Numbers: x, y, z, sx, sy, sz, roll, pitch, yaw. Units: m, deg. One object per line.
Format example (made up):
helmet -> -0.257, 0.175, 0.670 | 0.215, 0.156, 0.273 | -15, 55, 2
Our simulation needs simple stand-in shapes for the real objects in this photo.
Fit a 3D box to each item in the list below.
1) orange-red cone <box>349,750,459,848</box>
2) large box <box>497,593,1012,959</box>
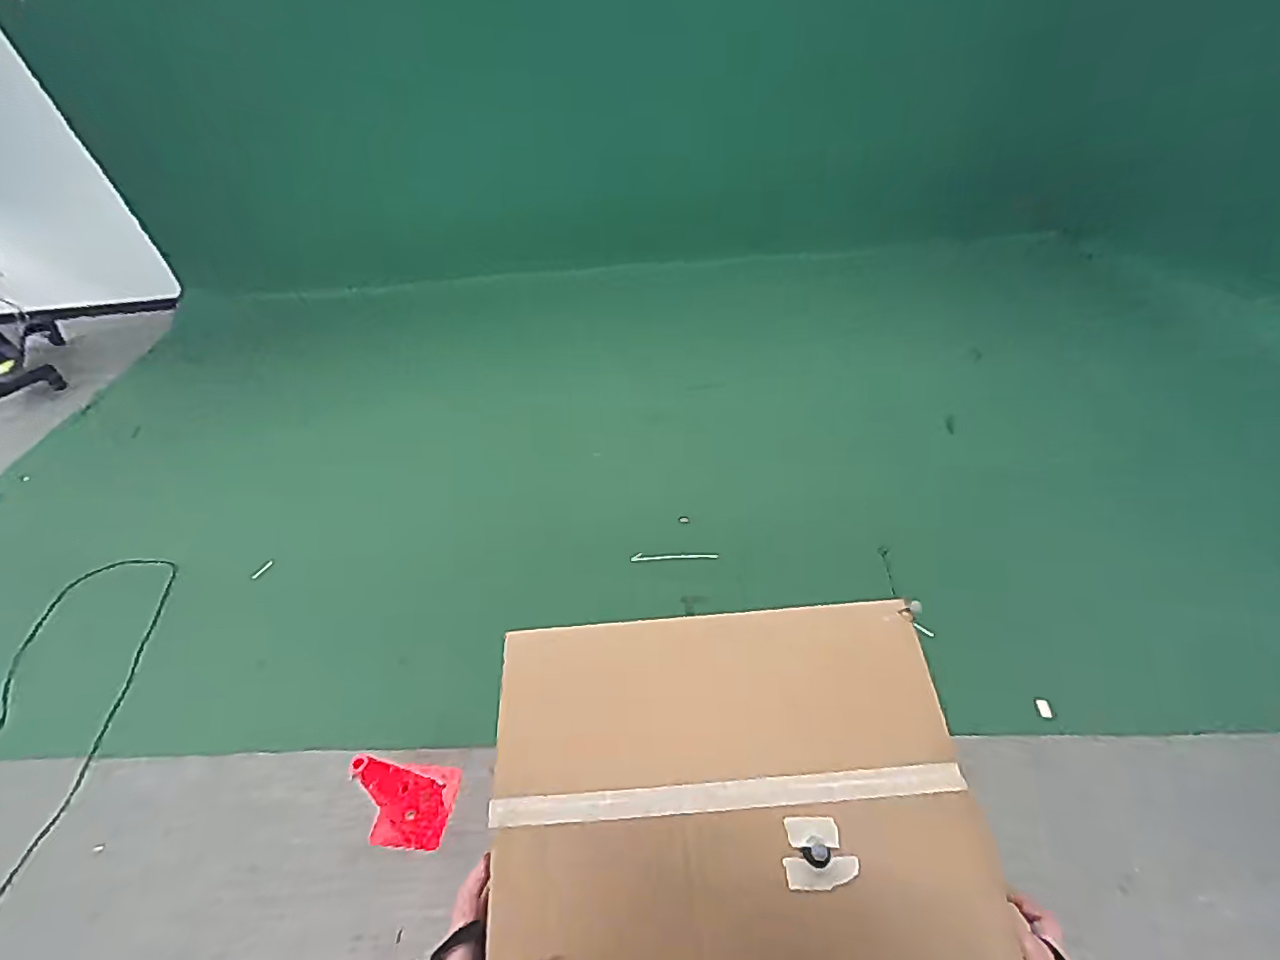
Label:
orange-red cone -> -0.634, 0.766, 1.365 | 0.199, 0.360, 0.198 | 1, 45, 10
large box -> 0.082, 0.343, 0.608 | 0.408, 0.320, 0.320 | -5, 60, 1
